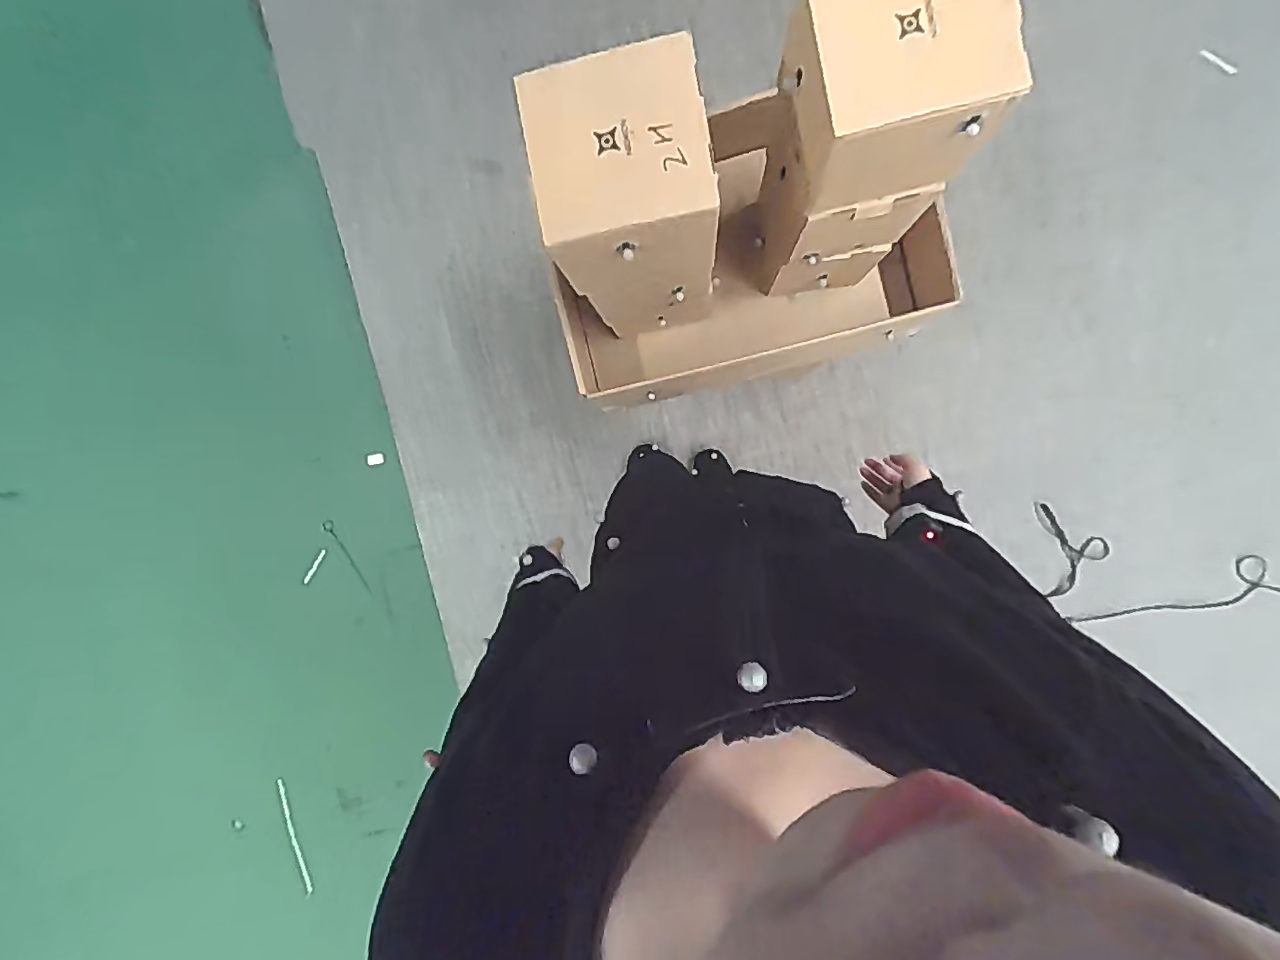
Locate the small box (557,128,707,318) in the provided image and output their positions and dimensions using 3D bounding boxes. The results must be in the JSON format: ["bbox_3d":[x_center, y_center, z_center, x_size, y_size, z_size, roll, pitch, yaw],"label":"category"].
[{"bbox_3d":[-0.002,-0.340,0.759,0.168,0.176,0.179,-13,91,5],"label":"small box"}]

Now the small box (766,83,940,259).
[{"bbox_3d":[0.273,-0.418,0.729,0.168,0.176,0.179,-10,91,6],"label":"small box"}]

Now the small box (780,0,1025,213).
[{"bbox_3d":[0.253,-0.410,0.568,0.179,0.176,0.168,-12,92,6],"label":"small box"}]
